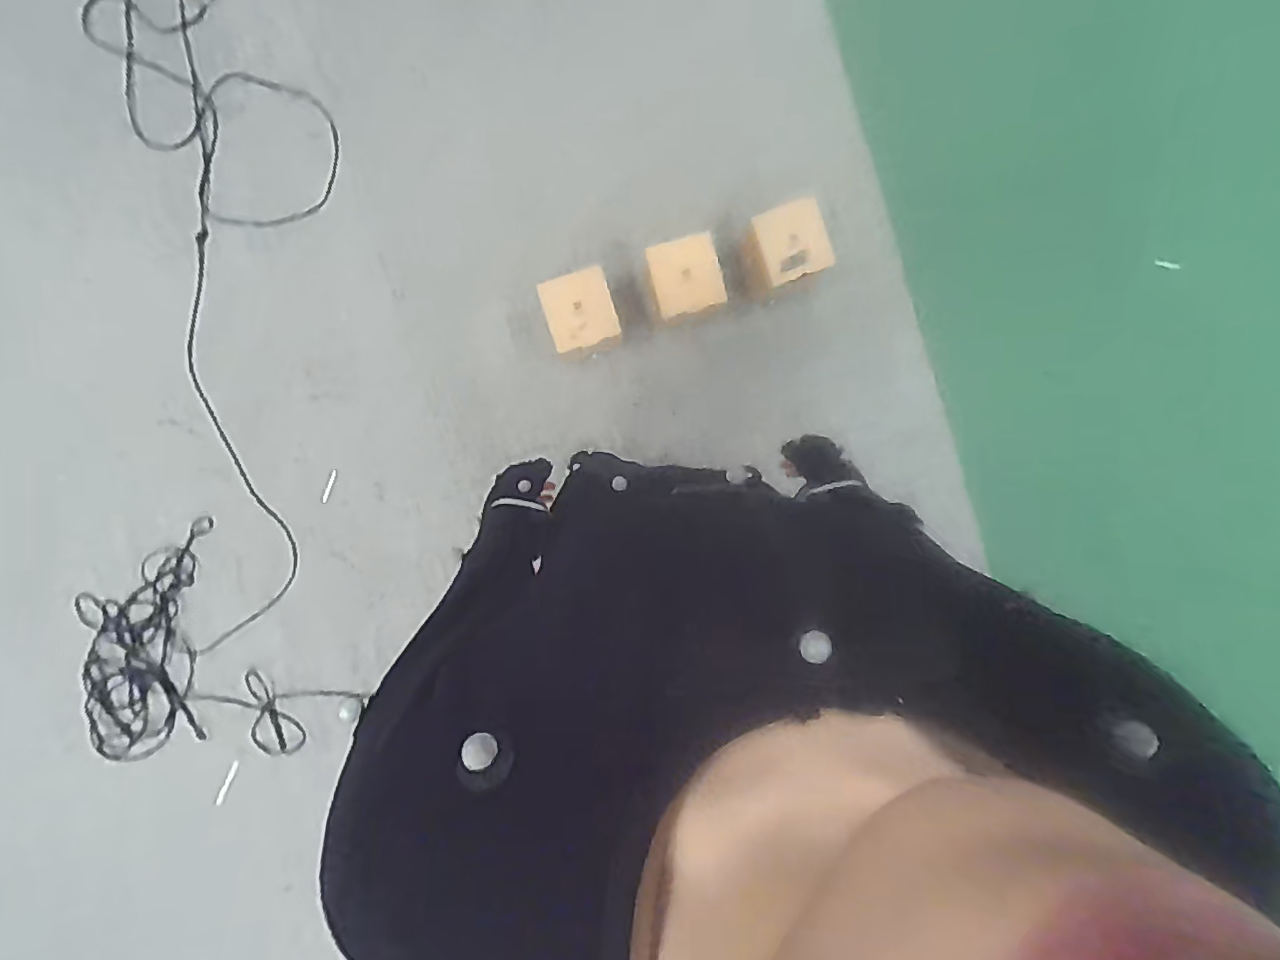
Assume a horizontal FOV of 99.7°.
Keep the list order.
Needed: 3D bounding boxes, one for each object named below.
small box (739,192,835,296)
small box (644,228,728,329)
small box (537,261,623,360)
[{"bbox_3d":[0.366,-0.583,1.368,0.168,0.176,0.179,-19,93,0],"label":"small box"},{"bbox_3d":[0.109,-0.503,1.371,0.168,0.176,0.179,-16,94,0],"label":"small box"},{"bbox_3d":[-0.146,-0.421,1.370,0.168,0.176,0.179,-18,94,2],"label":"small box"}]
